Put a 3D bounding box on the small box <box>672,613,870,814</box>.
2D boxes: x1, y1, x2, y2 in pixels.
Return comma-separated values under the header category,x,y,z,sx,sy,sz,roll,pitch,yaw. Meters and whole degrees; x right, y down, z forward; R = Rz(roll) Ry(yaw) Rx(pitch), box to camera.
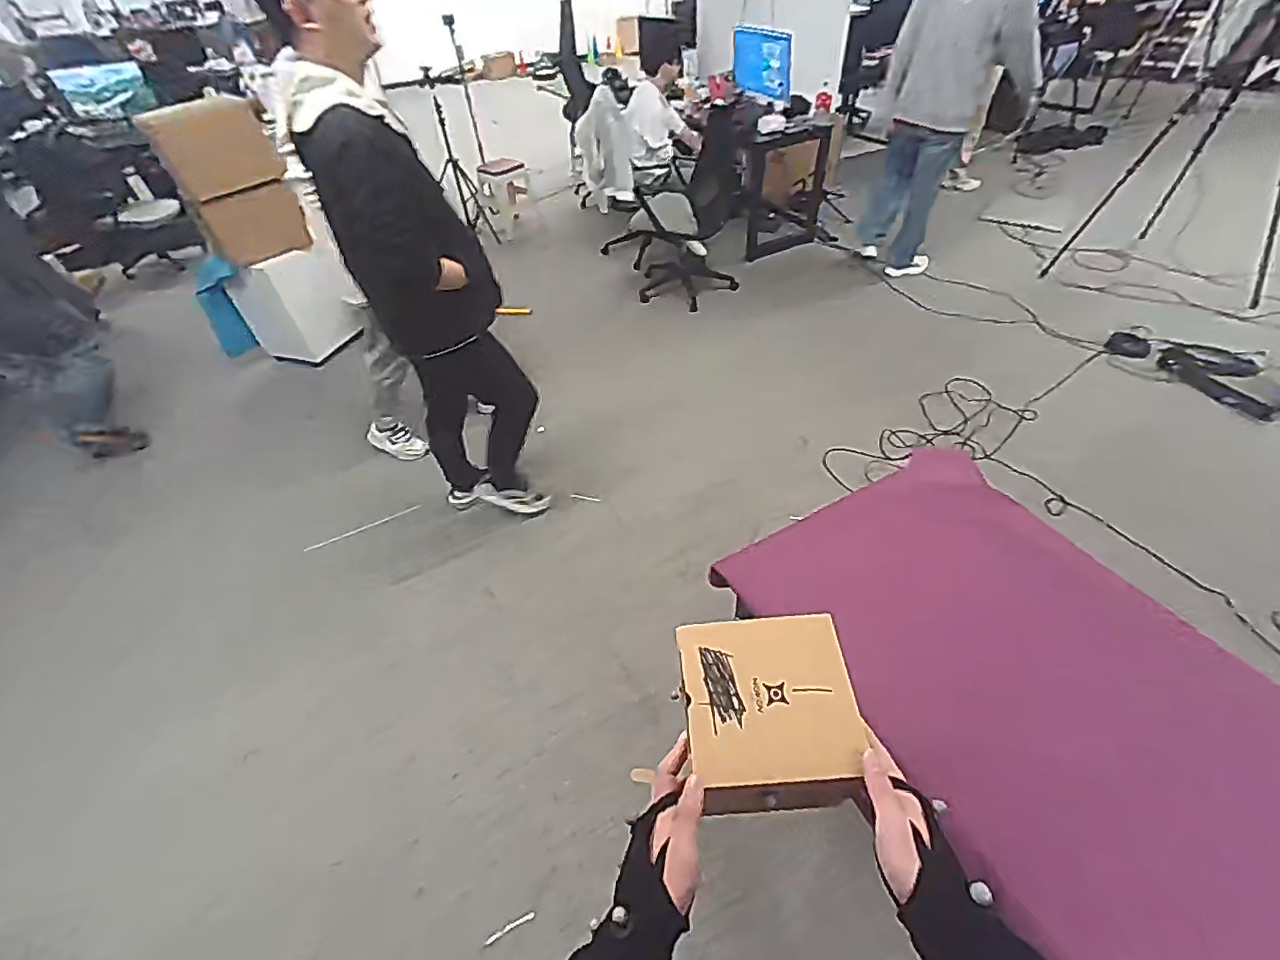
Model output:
category,x,y,z,sx,sy,sz,roll,pitch,yaw
small box,0.133,0.270,0.617,0.179,0.176,0.168,-5,50,1
